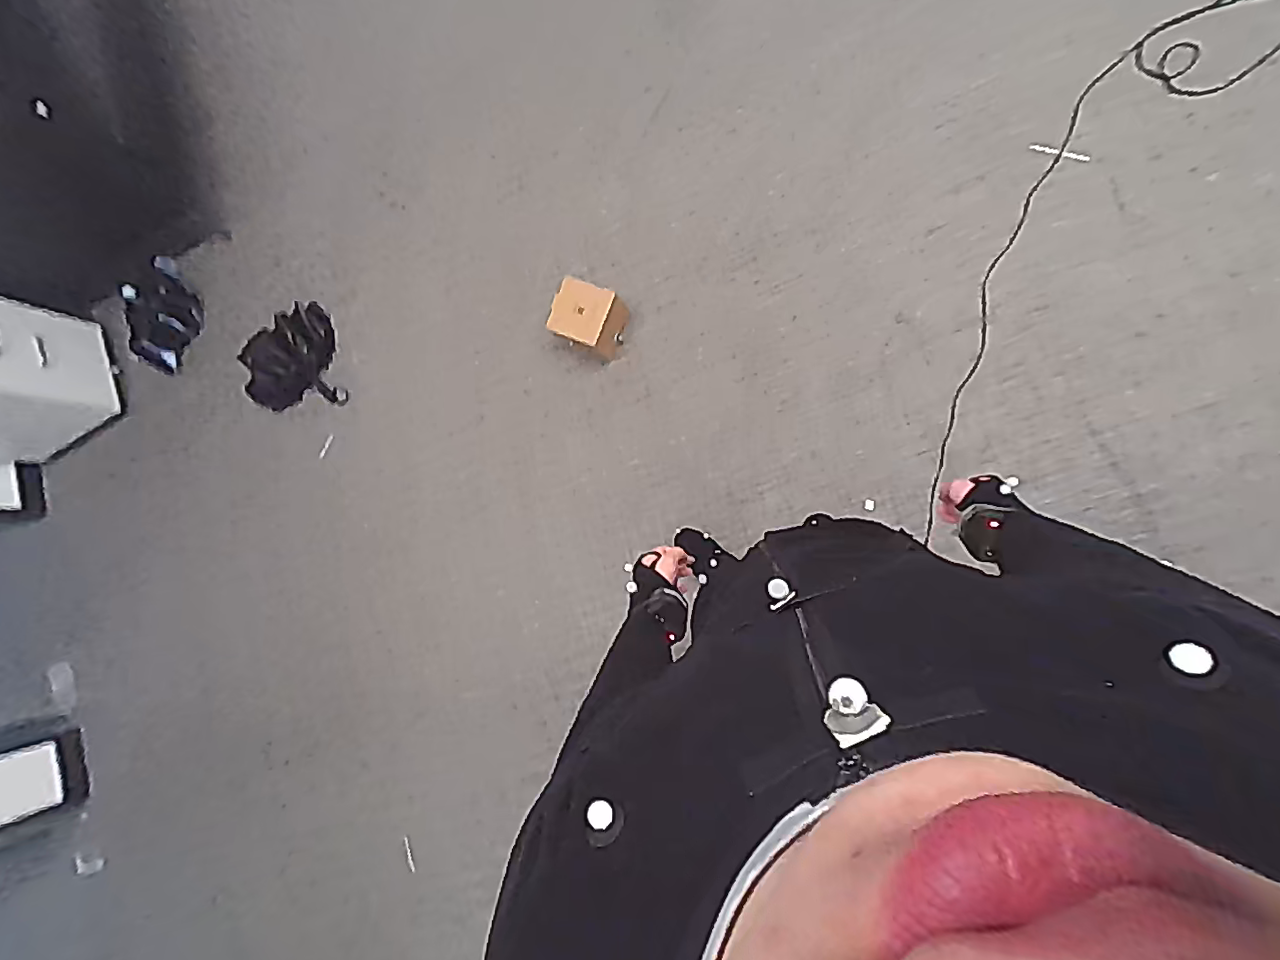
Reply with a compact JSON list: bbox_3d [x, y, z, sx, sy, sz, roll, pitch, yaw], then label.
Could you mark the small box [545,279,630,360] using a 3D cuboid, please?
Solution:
[{"bbox_3d":[-0.154,-0.483,1.650,0.179,0.176,0.168,23,94,15],"label":"small box"}]
